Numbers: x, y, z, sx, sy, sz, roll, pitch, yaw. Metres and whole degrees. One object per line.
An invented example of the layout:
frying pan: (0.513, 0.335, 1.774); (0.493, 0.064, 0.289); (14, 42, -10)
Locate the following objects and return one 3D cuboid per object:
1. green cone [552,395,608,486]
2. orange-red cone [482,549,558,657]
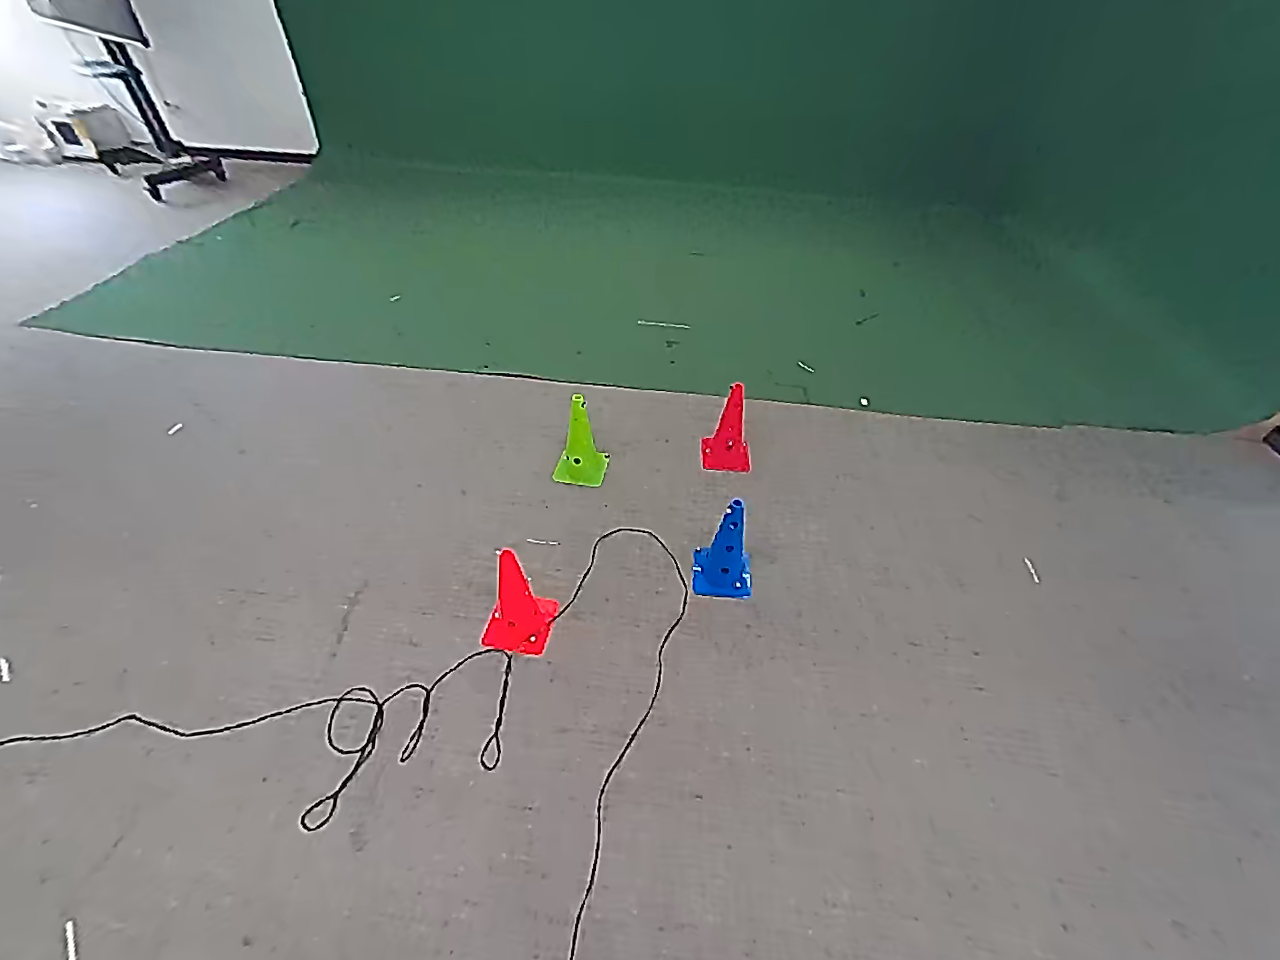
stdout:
green cone: (-0.241, -0.175, 2.100); (0.200, 0.368, 0.202); (7, 45, 5)
orange-red cone: (-0.366, 0.328, 1.583); (0.198, 0.360, 0.199); (10, 43, 6)
